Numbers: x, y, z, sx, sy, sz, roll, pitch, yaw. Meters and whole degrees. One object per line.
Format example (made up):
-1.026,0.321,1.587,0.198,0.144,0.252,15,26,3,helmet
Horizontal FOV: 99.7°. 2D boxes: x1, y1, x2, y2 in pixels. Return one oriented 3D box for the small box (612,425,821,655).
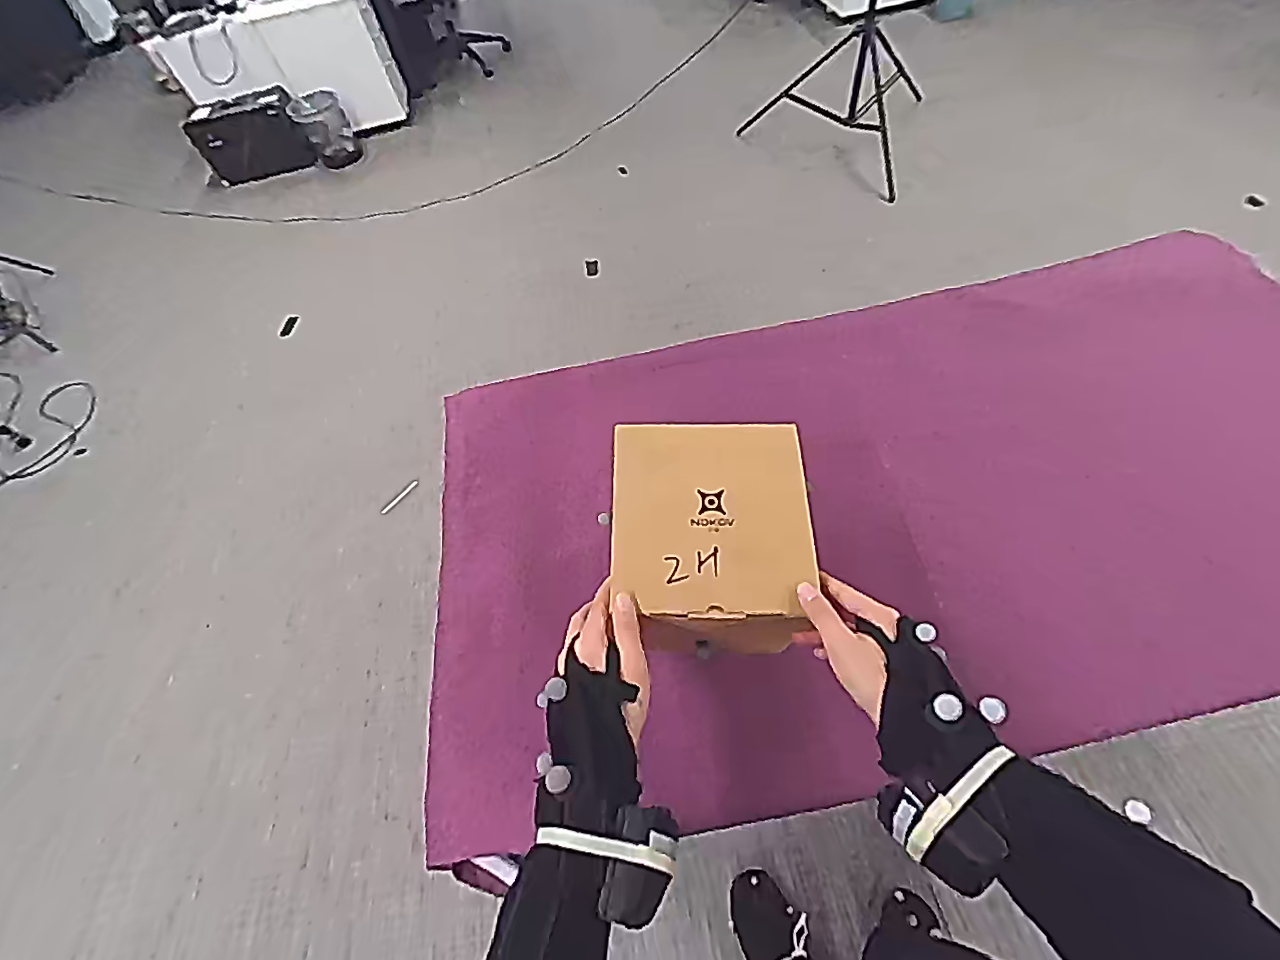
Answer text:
0.062,0.064,0.528,0.168,0.176,0.179,0,63,1,small box
